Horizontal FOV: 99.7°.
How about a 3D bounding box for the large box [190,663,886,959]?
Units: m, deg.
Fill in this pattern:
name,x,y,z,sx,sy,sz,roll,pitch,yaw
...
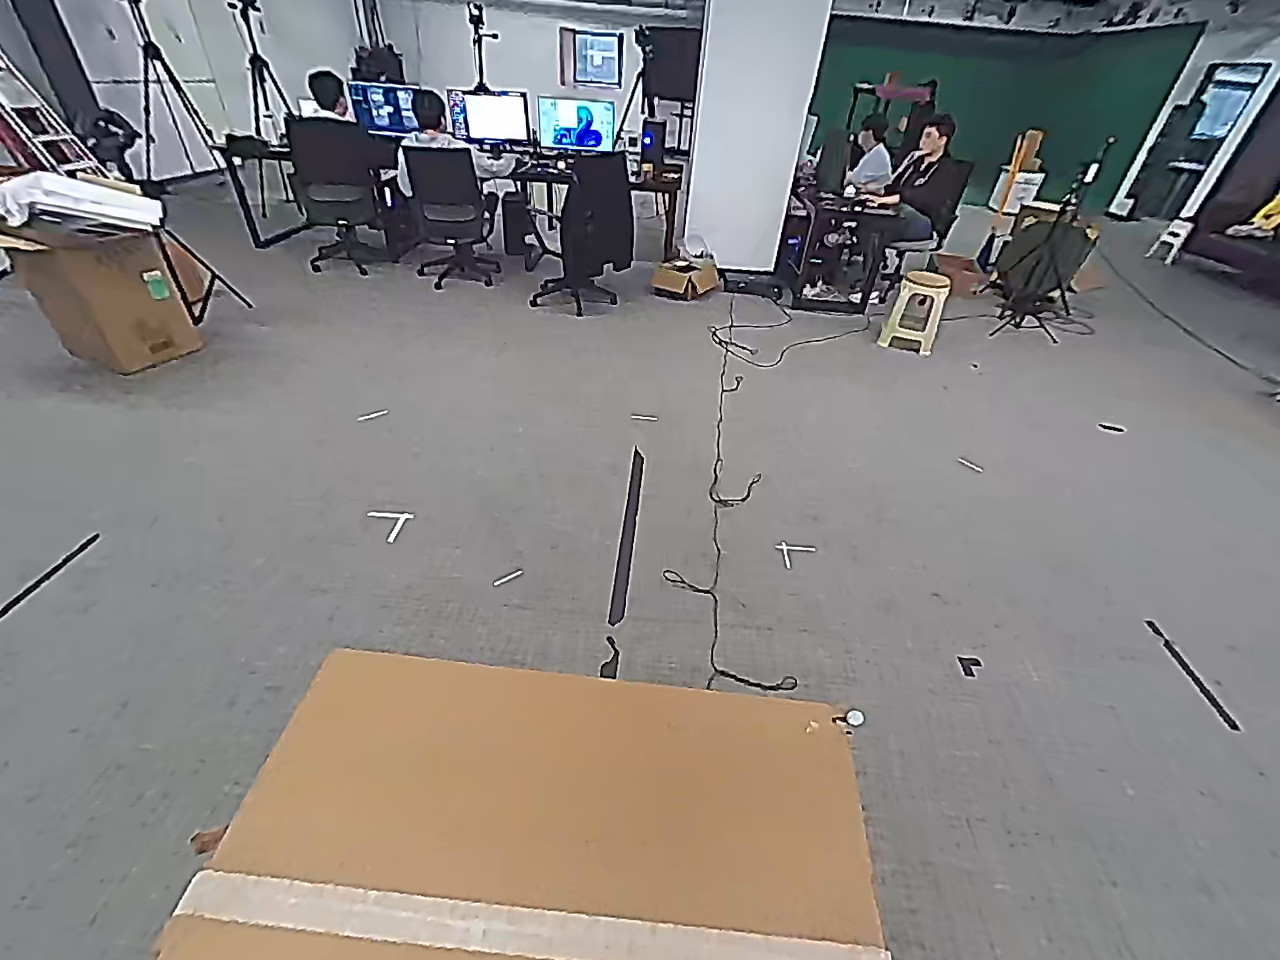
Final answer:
name,x,y,z,sx,sy,sz,roll,pitch,yaw
large box,-0.063,0.376,0.421,0.408,0.320,0.320,6,44,0
